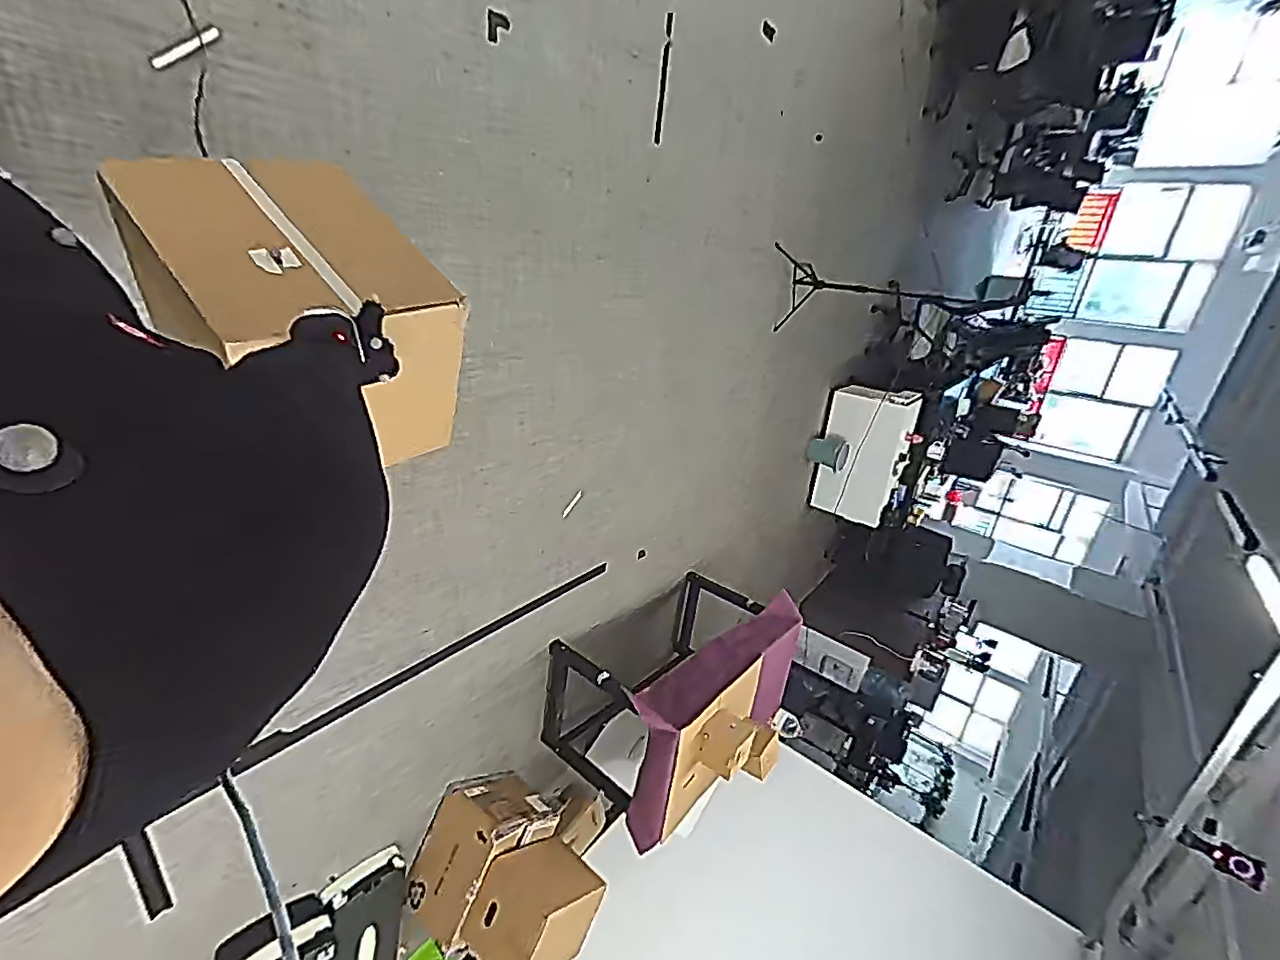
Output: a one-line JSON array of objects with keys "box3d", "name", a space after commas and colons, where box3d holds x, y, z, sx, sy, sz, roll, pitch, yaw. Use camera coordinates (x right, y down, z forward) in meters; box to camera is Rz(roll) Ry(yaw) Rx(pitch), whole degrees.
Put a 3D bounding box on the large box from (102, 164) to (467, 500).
[{"box3d": [-0.546, -0.247, 0.874, 0.320, 0.408, 0.320, -30, 158, -41], "name": "large box"}]
